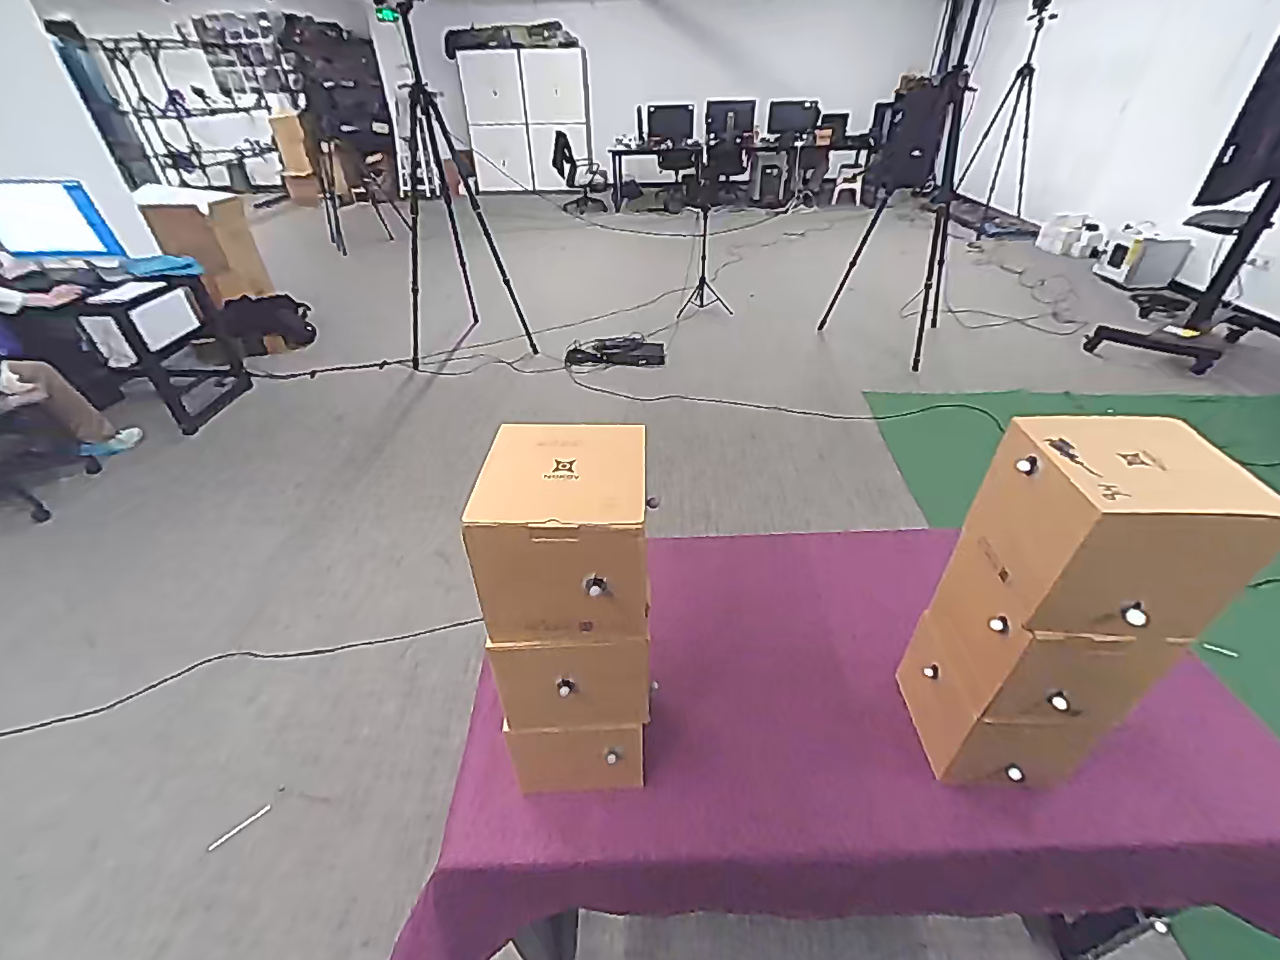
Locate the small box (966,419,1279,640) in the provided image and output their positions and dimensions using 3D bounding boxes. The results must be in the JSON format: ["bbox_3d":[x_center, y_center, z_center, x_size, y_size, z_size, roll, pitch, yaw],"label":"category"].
[{"bbox_3d":[0.492,0.052,0.576,0.179,0.176,0.168,2,37,3],"label":"small box"}]

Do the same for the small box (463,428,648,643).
[{"bbox_3d":[-0.074,0.059,0.589,0.168,0.176,0.179,1,36,0],"label":"small box"}]

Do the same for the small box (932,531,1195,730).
[{"bbox_3d":[0.497,0.183,0.676,0.168,0.176,0.179,0,38,2],"label":"small box"}]

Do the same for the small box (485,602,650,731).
[{"bbox_3d":[-0.079,0.194,0.680,0.179,0.176,0.168,-3,37,-2],"label":"small box"}]

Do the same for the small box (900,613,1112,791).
[{"bbox_3d":[0.498,0.314,0.774,0.168,0.176,0.179,0,37,3],"label":"small box"}]
